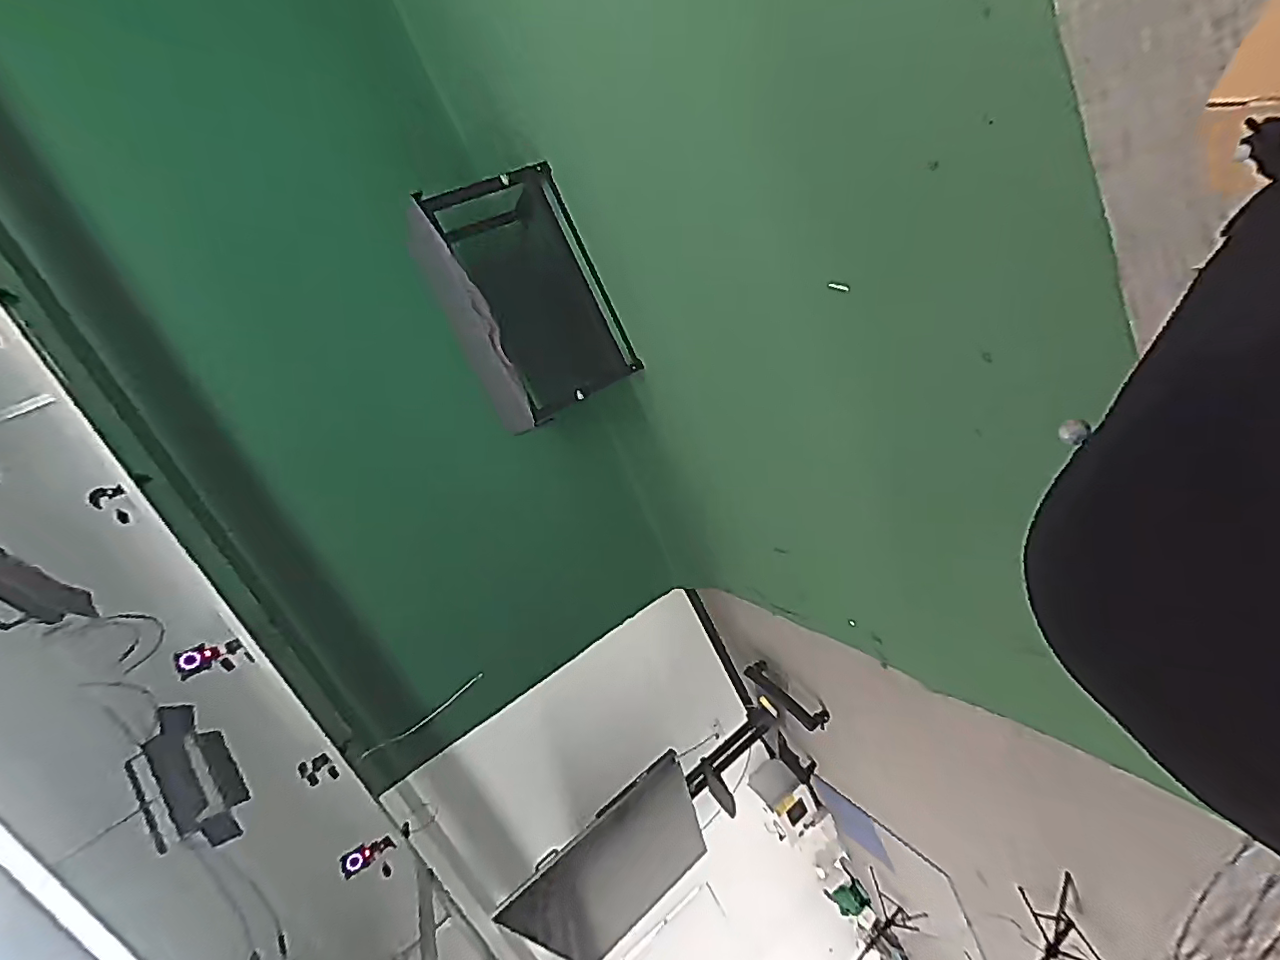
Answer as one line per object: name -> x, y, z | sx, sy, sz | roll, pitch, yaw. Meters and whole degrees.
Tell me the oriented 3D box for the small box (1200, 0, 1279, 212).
small box -> 0.654, -0.362, 0.478 | 0.168, 0.179, 0.176 | 36, 105, 45
